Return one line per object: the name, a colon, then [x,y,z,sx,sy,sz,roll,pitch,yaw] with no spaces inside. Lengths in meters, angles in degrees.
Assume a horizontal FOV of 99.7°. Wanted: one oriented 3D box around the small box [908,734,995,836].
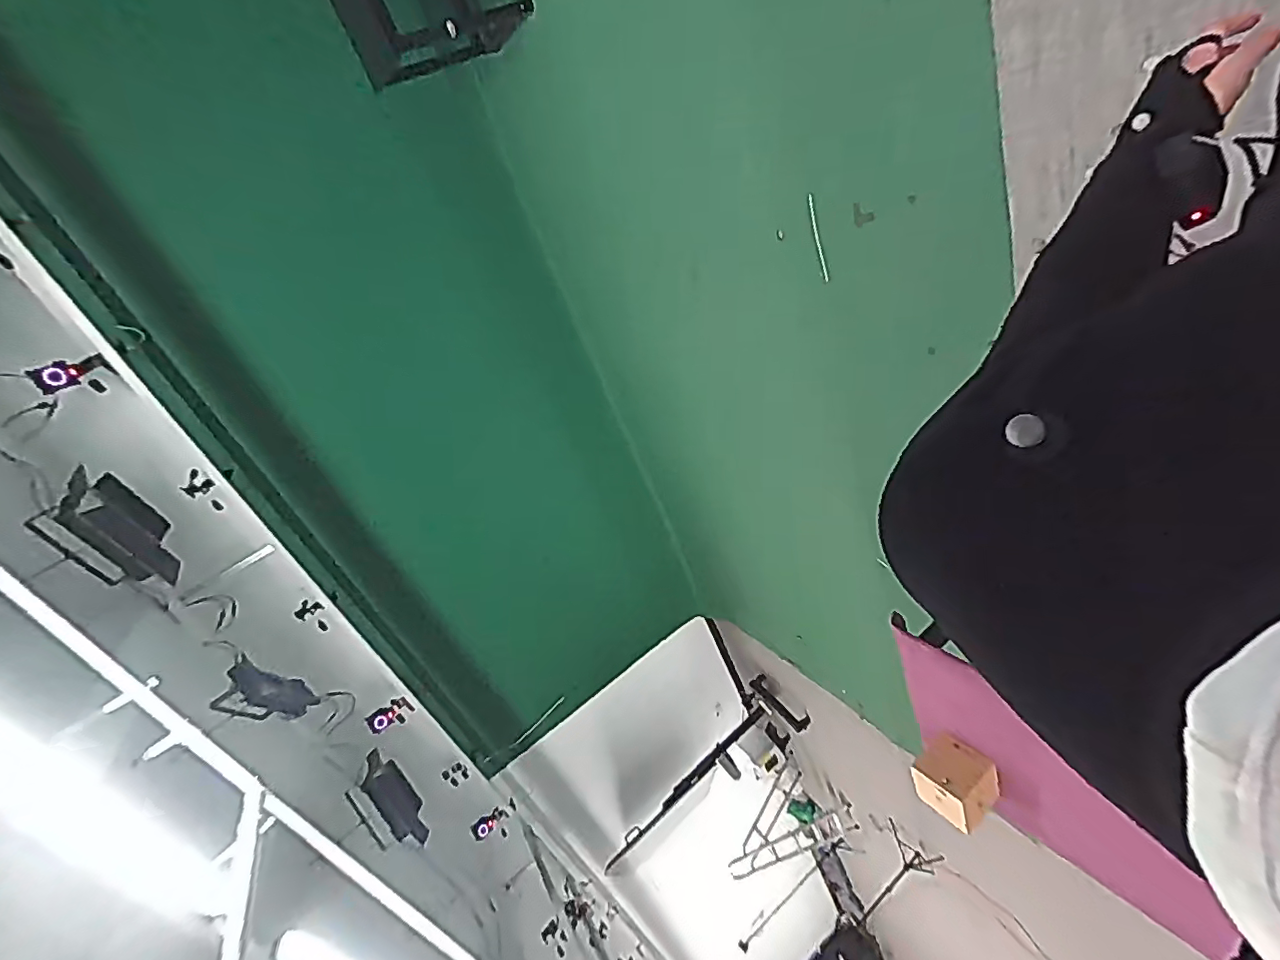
small box: [0.966,0.936,1.668,0.168,0.176,0.179,22,142,57]
